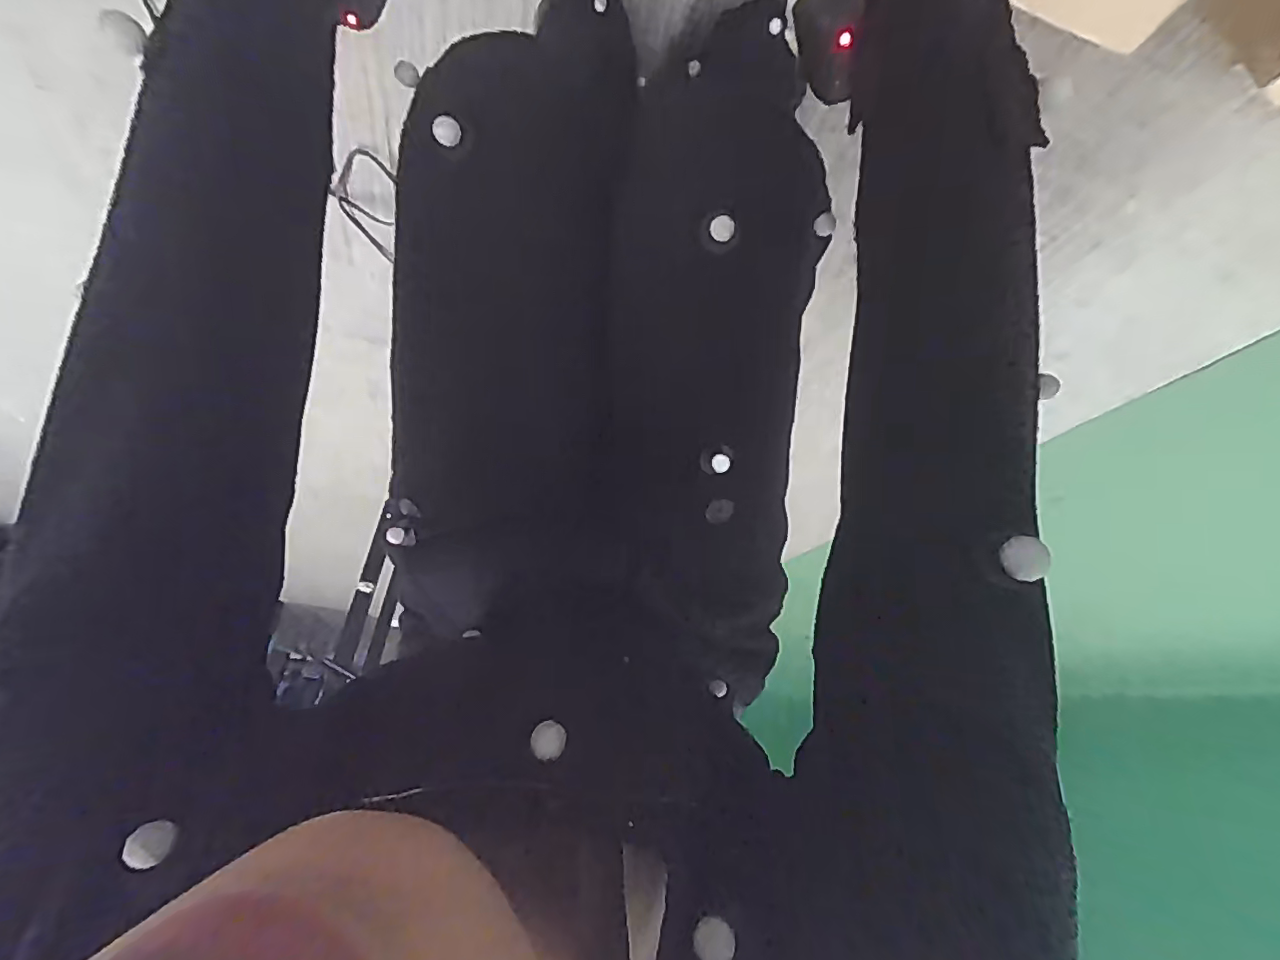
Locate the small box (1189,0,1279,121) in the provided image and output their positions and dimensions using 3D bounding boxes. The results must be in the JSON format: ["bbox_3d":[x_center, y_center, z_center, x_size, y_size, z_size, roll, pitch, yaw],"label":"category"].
[{"bbox_3d":[0.603,-0.395,0.423,0.168,0.176,0.179,15,154,-20],"label":"small box"}]
